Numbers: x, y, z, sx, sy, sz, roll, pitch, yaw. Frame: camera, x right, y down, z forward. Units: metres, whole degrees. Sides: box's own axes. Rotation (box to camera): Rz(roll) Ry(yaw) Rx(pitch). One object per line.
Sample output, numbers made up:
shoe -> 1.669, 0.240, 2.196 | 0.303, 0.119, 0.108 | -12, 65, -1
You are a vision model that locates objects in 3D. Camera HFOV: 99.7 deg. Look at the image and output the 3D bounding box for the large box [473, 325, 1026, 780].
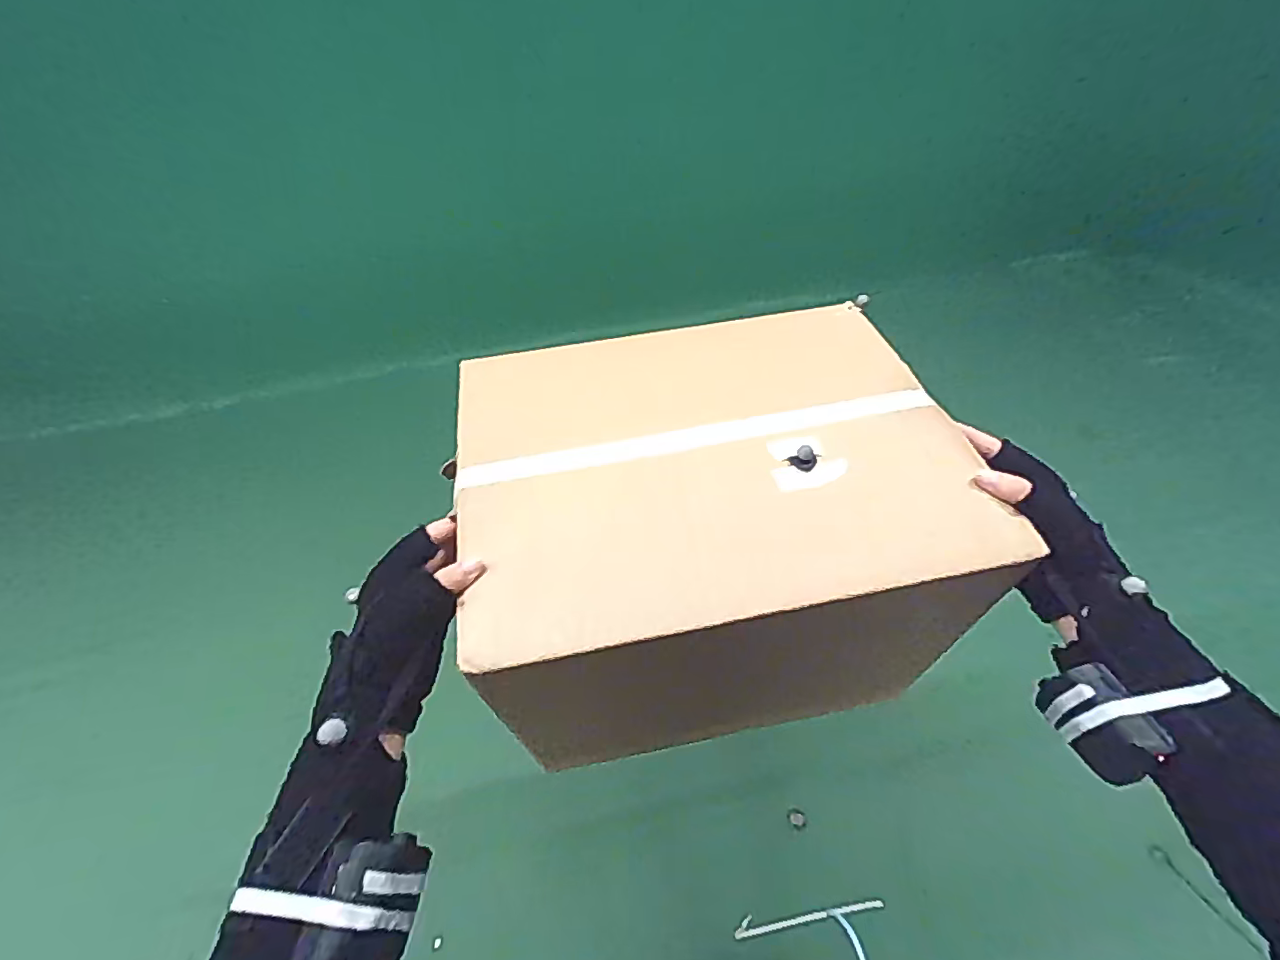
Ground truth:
large box -> 0.062, 0.077, 0.576 | 0.408, 0.320, 0.320 | -10, 51, -6
